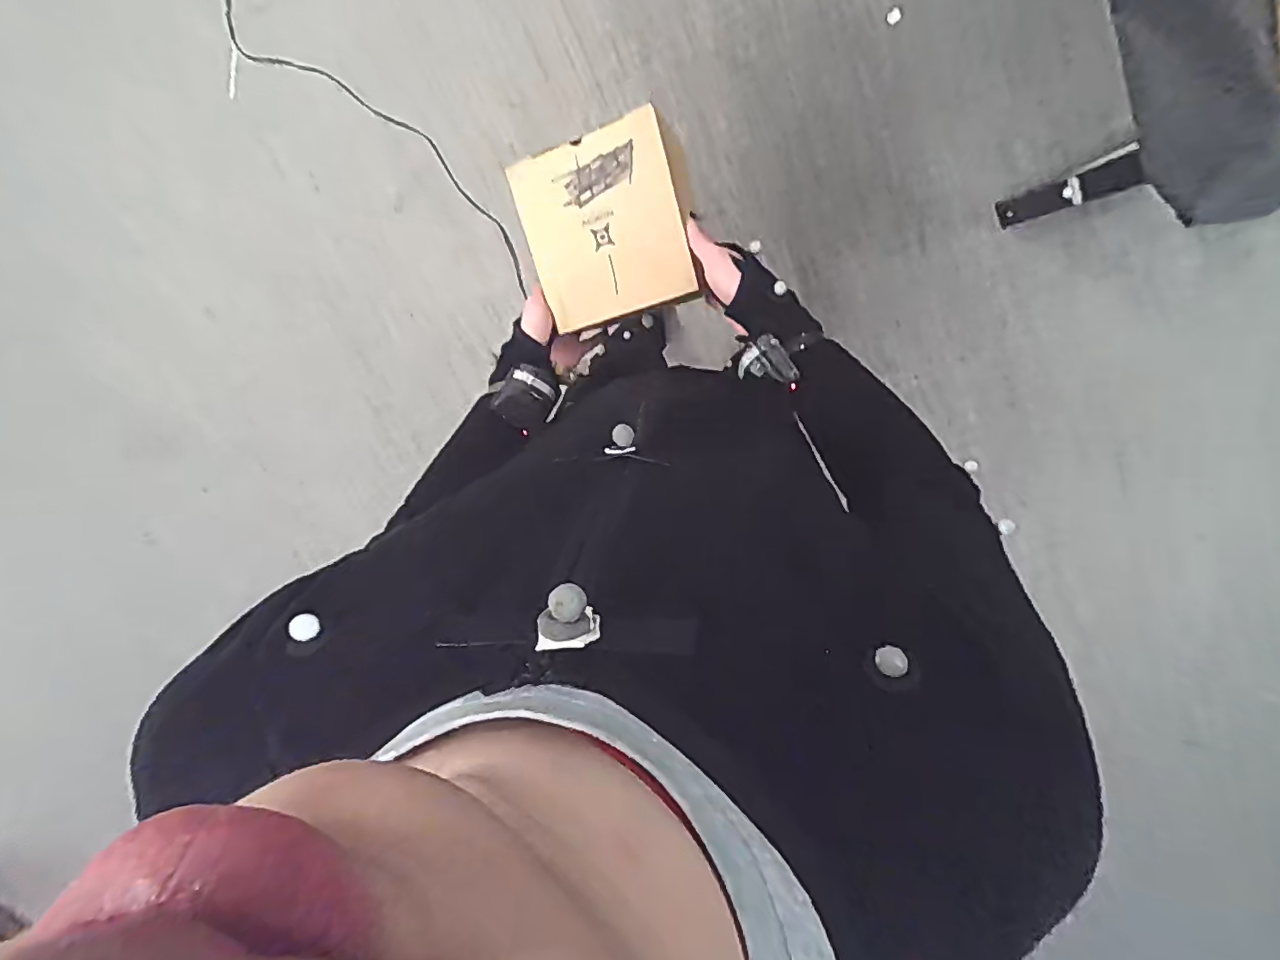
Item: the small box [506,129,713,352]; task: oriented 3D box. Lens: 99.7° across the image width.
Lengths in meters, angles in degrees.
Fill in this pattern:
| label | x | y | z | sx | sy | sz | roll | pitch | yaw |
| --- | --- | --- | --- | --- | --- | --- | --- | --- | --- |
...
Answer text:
| label | x | y | z | sx | sy | sz | roll | pitch | yaw |
| --- | --- | --- | --- | --- | --- | --- | --- | --- | --- |
| small box | -0.021 | -0.259 | 0.623 | 0.168 | 0.176 | 0.179 | -12 | 106 | 19 |
